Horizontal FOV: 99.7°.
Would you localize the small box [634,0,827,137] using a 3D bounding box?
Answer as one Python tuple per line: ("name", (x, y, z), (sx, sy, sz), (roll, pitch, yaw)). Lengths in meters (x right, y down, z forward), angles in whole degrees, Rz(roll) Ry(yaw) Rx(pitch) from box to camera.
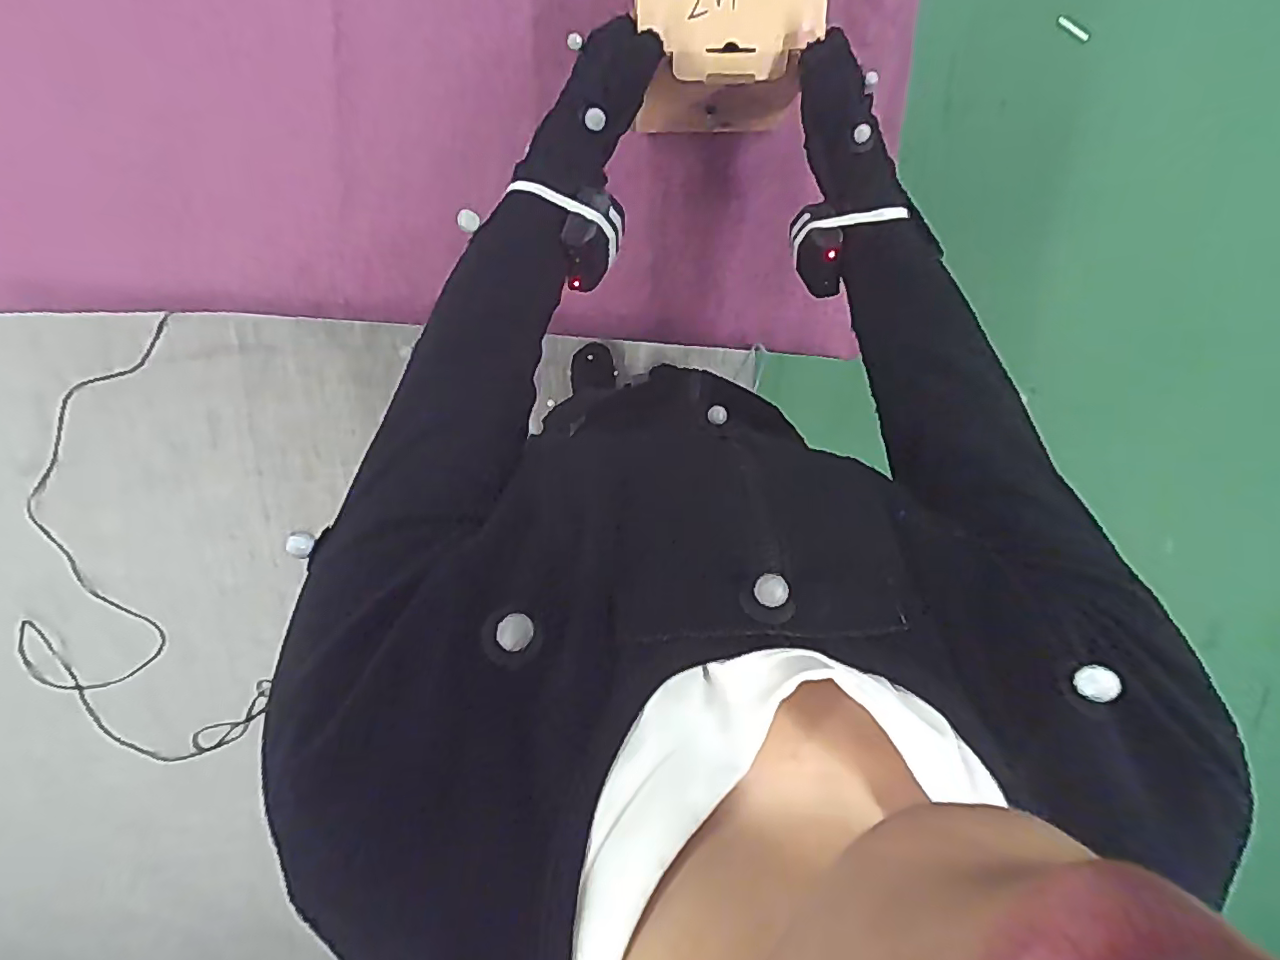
("small box", (0.078, -0.472, 0.535), (0.168, 0.176, 0.179), (-1, 102, 0))
